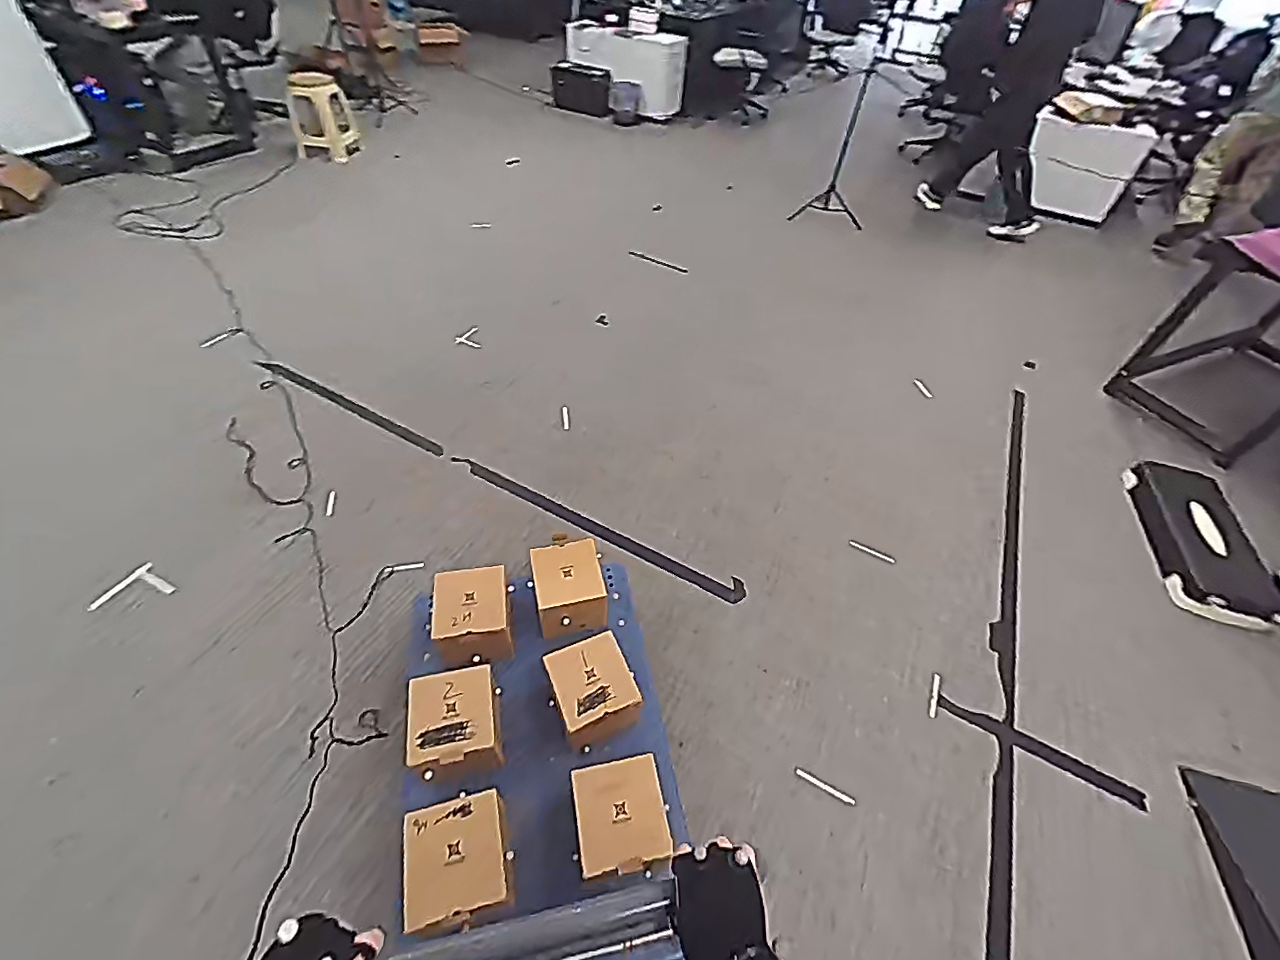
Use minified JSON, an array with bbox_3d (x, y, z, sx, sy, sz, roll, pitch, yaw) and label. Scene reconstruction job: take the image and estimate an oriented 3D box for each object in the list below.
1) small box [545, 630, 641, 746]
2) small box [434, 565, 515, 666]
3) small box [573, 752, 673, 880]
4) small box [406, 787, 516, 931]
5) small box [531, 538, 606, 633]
[{"bbox_3d":[-0.108,0.479,1.229,0.168,0.176,0.179,-16,51,-19],"label":"small box"},{"bbox_3d":[-0.401,0.333,1.330,0.168,0.176,0.179,-5,50,-10],"label":"small box"},{"bbox_3d":[-0.039,0.667,1.069,0.168,0.176,0.179,-6,49,-11],"label":"small box"},{"bbox_3d":[-0.328,0.705,1.005,0.168,0.176,0.179,-9,50,-14],"label":"small box"},{"bbox_3d":[-0.183,0.280,1.400,0.168,0.176,0.179,-9,50,-13],"label":"small box"}]
